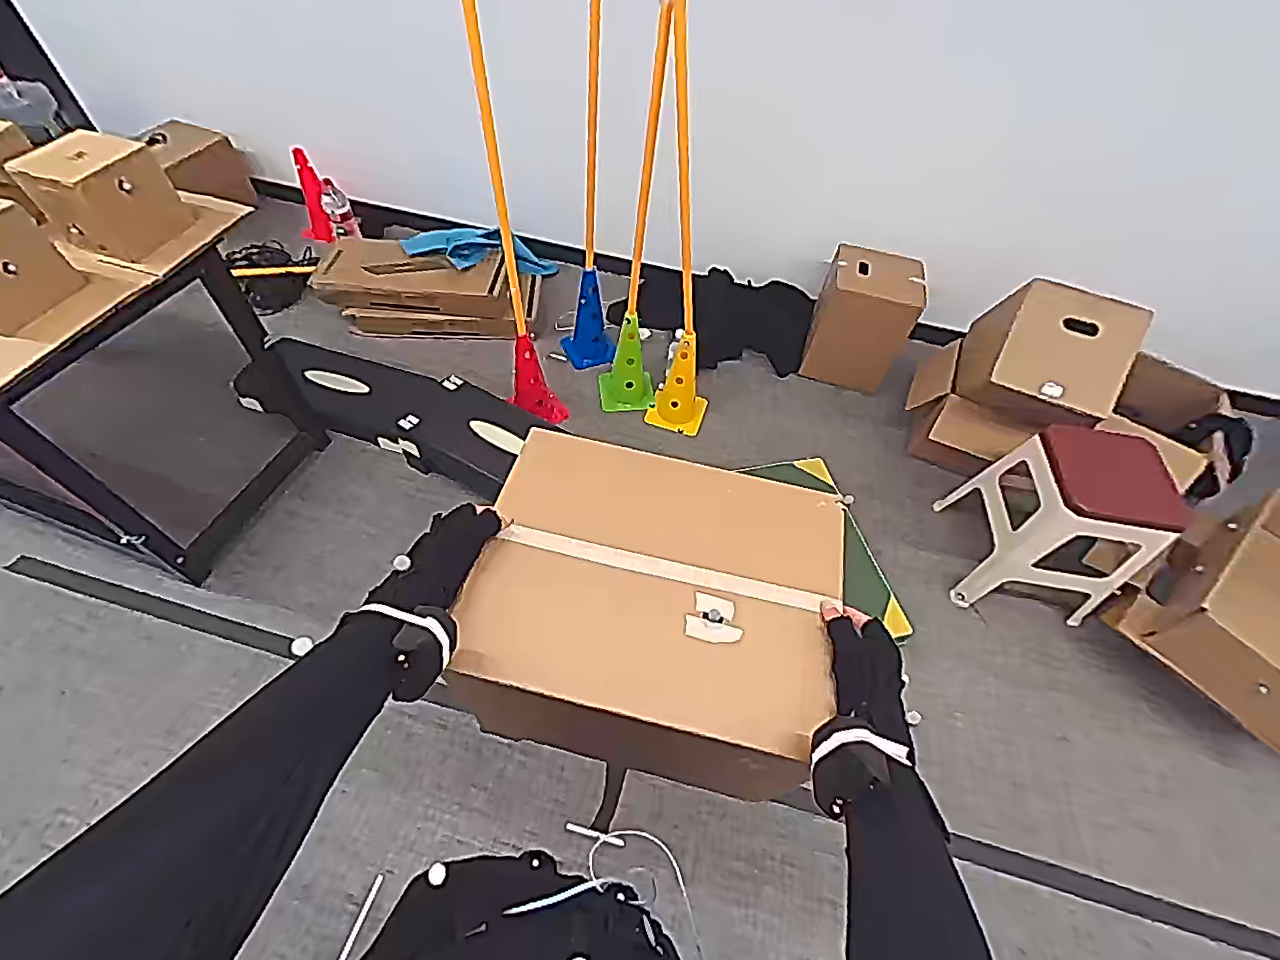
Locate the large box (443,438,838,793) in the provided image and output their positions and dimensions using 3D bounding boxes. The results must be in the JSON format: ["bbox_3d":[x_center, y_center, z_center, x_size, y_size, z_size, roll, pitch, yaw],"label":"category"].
[{"bbox_3d":[0.012,0.191,0.732,0.408,0.320,0.320,13,56,4],"label":"large box"}]
